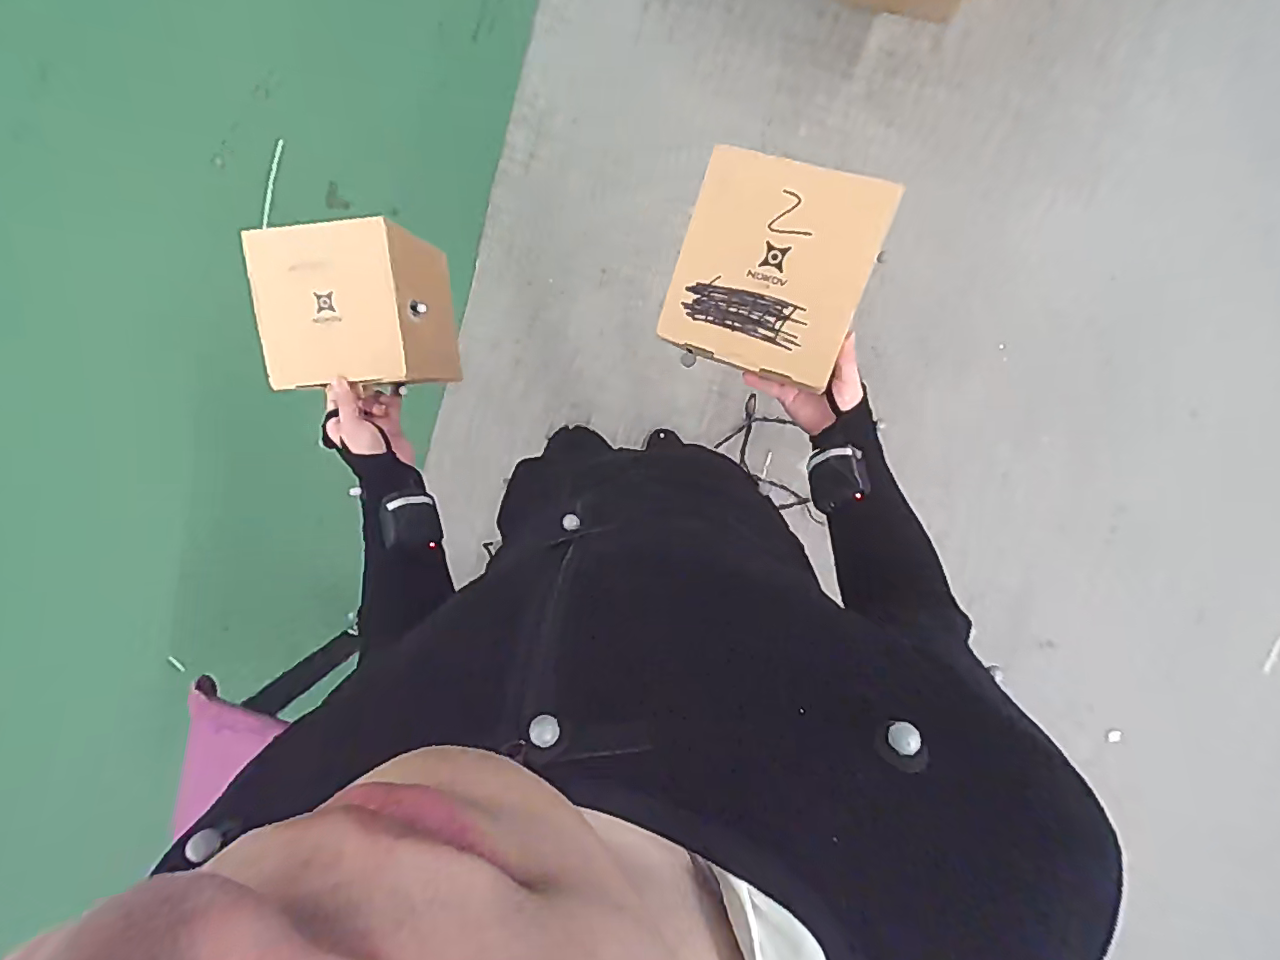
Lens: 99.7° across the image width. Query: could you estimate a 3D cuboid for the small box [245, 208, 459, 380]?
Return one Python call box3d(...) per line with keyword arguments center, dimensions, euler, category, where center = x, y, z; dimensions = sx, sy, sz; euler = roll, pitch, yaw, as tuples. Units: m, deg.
box3d(center=(-0.340, -0.216, 0.674), dimensions=(0.168, 0.176, 0.179), euler=(-2, 99, 4), category="small box")
